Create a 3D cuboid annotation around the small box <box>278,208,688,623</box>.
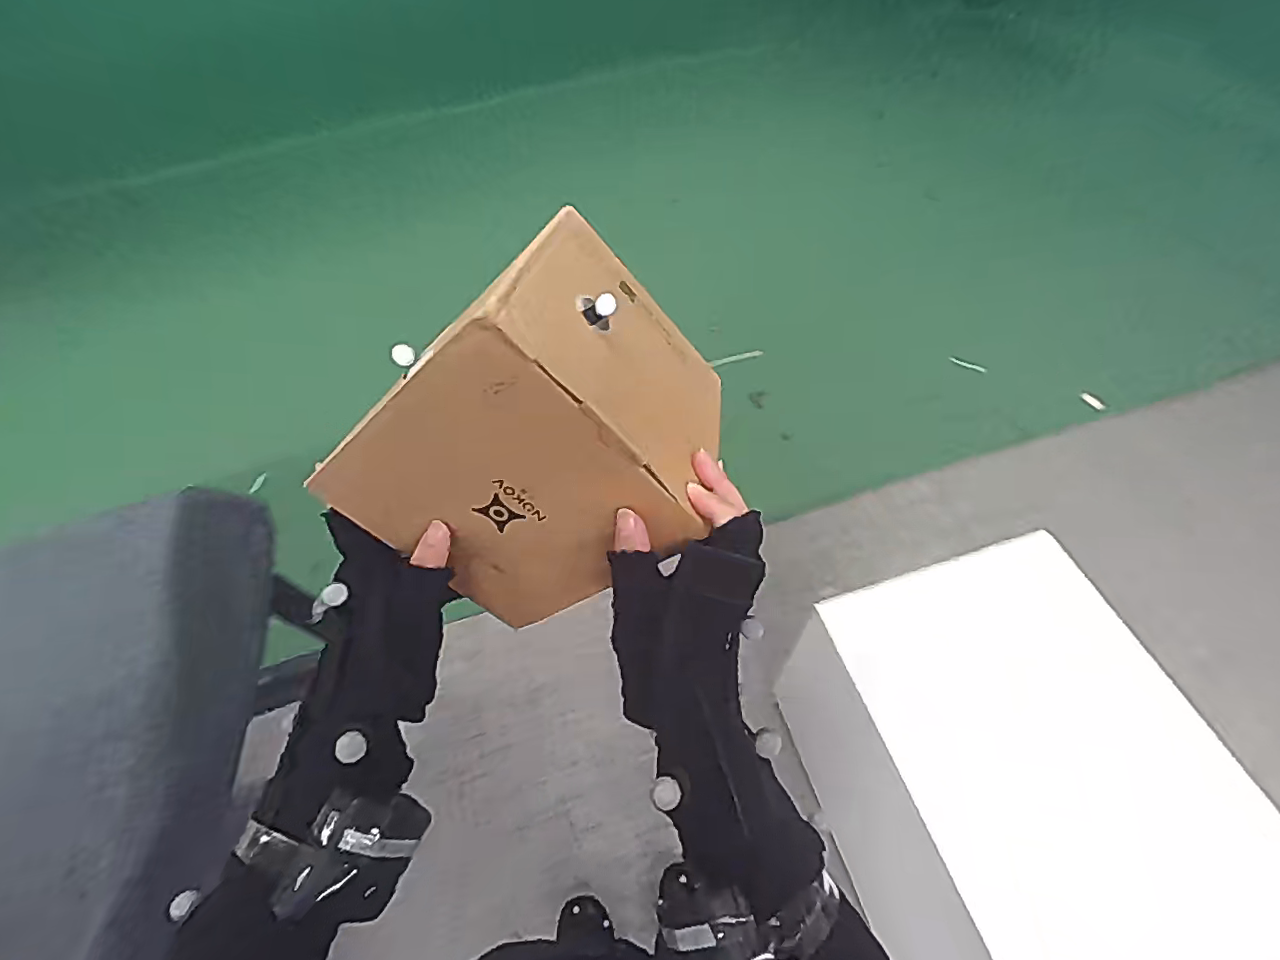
[{"bbox_3d":[-0.082,-0.040,0.357,0.179,0.168,0.176,-32,29,33],"label":"small box"}]
